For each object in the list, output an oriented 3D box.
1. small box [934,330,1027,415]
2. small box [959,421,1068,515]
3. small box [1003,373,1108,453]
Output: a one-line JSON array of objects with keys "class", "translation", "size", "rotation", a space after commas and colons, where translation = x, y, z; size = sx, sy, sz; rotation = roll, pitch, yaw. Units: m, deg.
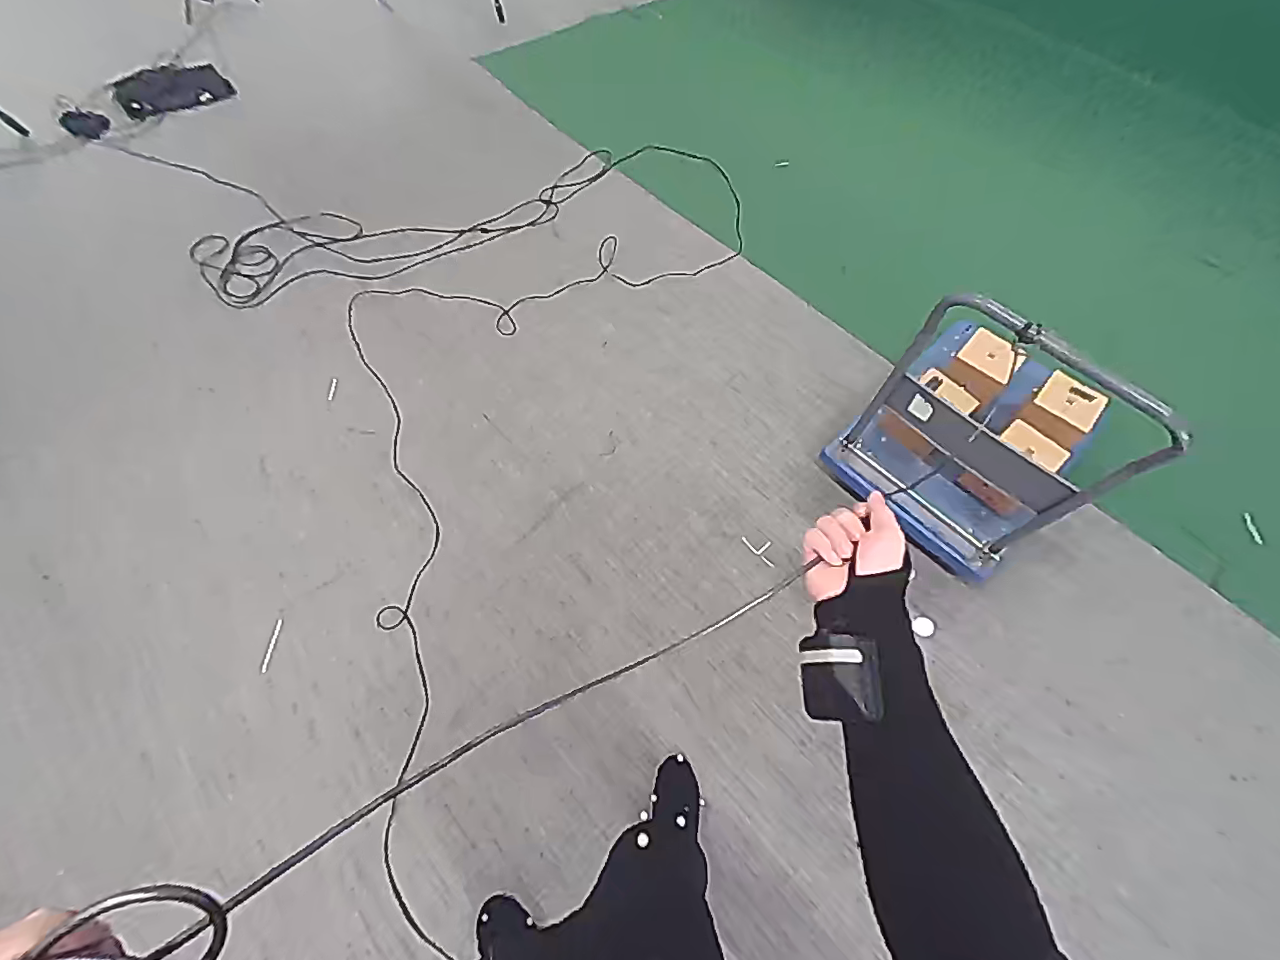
[{"class": "small box", "translation": [1.091, -0.342, 1.749], "size": [0.168, 0.176, 0.179], "rotation": [40, 66, 17]}, {"class": "small box", "translation": [1.078, -0.032, 1.576], "size": [0.179, 0.176, 0.168], "rotation": [-38, 69, -20]}, {"class": "small box", "translation": [1.276, -0.189, 1.673], "size": [0.168, 0.176, 0.179], "rotation": [40, 67, 18]}]
